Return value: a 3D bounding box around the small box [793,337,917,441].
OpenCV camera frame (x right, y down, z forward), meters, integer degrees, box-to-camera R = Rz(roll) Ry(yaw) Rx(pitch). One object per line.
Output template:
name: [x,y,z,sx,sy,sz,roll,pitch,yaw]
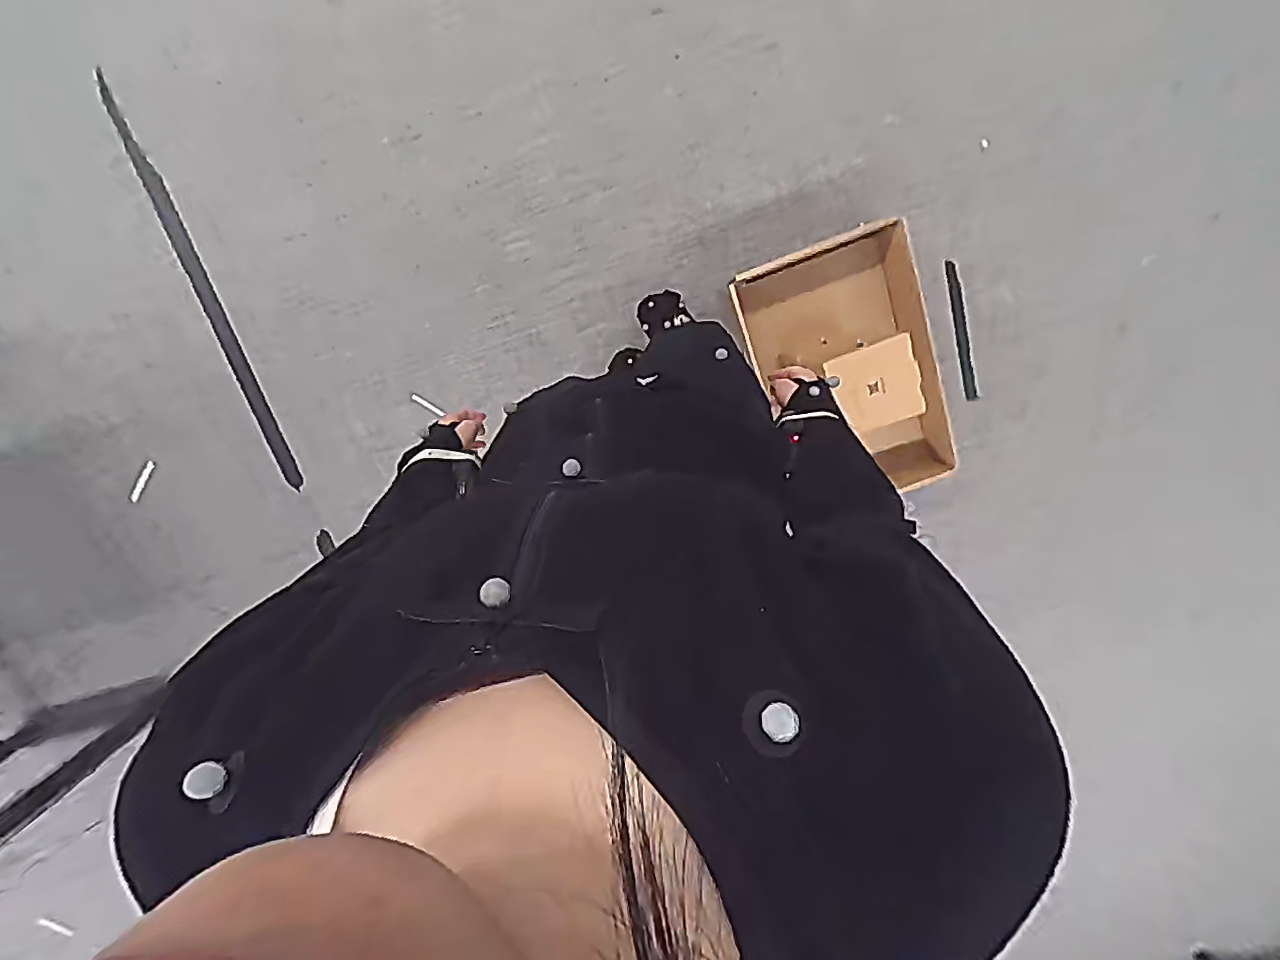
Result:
small box: [0.452,-0.201,1.157,0.179,0.176,0.168,-20,104,5]
